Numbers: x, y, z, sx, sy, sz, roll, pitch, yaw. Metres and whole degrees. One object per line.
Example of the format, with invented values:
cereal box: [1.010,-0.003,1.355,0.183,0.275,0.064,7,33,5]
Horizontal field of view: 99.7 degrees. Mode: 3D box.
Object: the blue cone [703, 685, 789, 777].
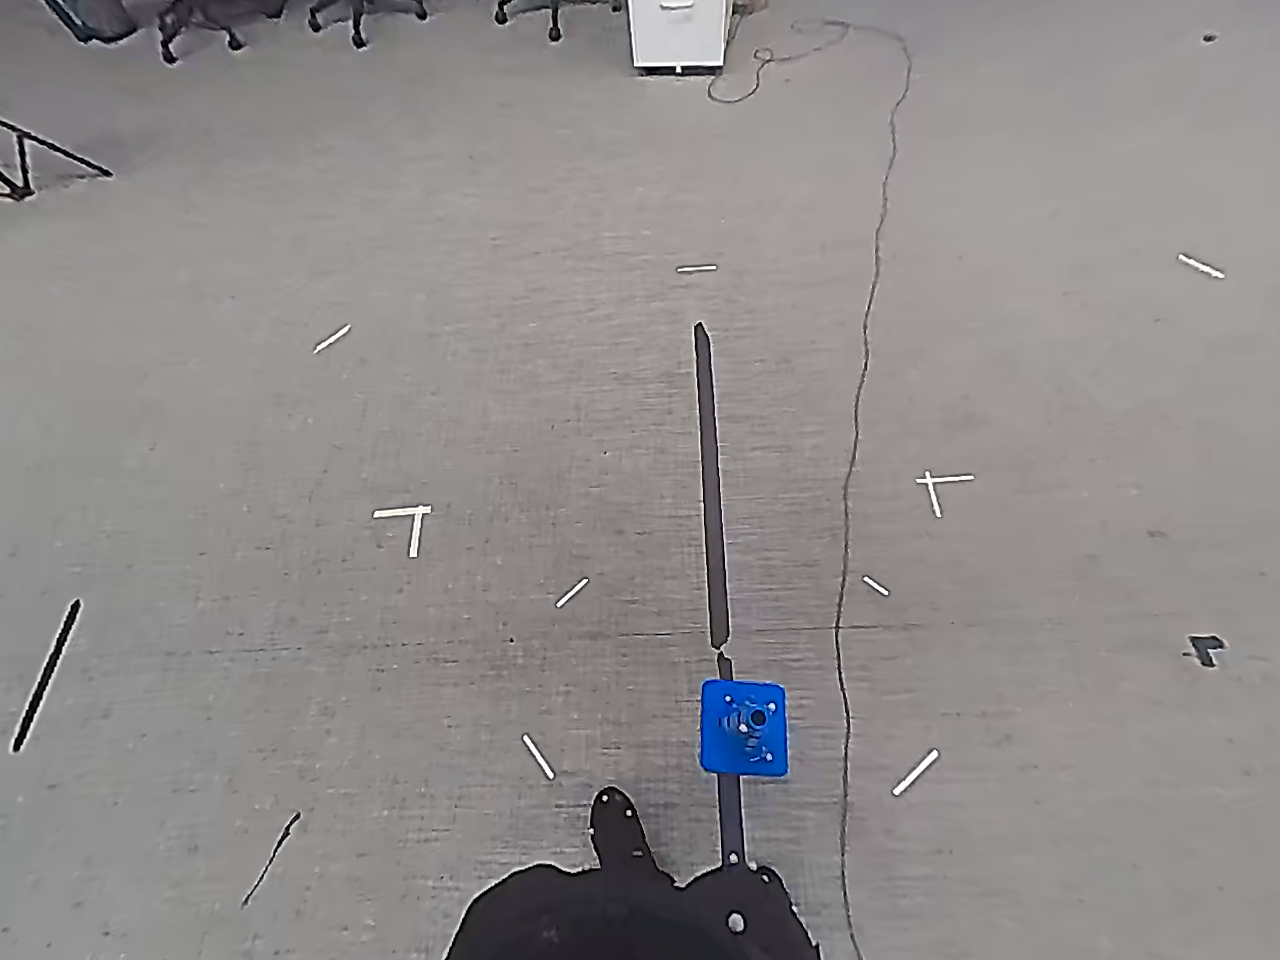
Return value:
blue cone: [0.229,0.499,1.099,0.193,0.380,0.192,0,63,5]
